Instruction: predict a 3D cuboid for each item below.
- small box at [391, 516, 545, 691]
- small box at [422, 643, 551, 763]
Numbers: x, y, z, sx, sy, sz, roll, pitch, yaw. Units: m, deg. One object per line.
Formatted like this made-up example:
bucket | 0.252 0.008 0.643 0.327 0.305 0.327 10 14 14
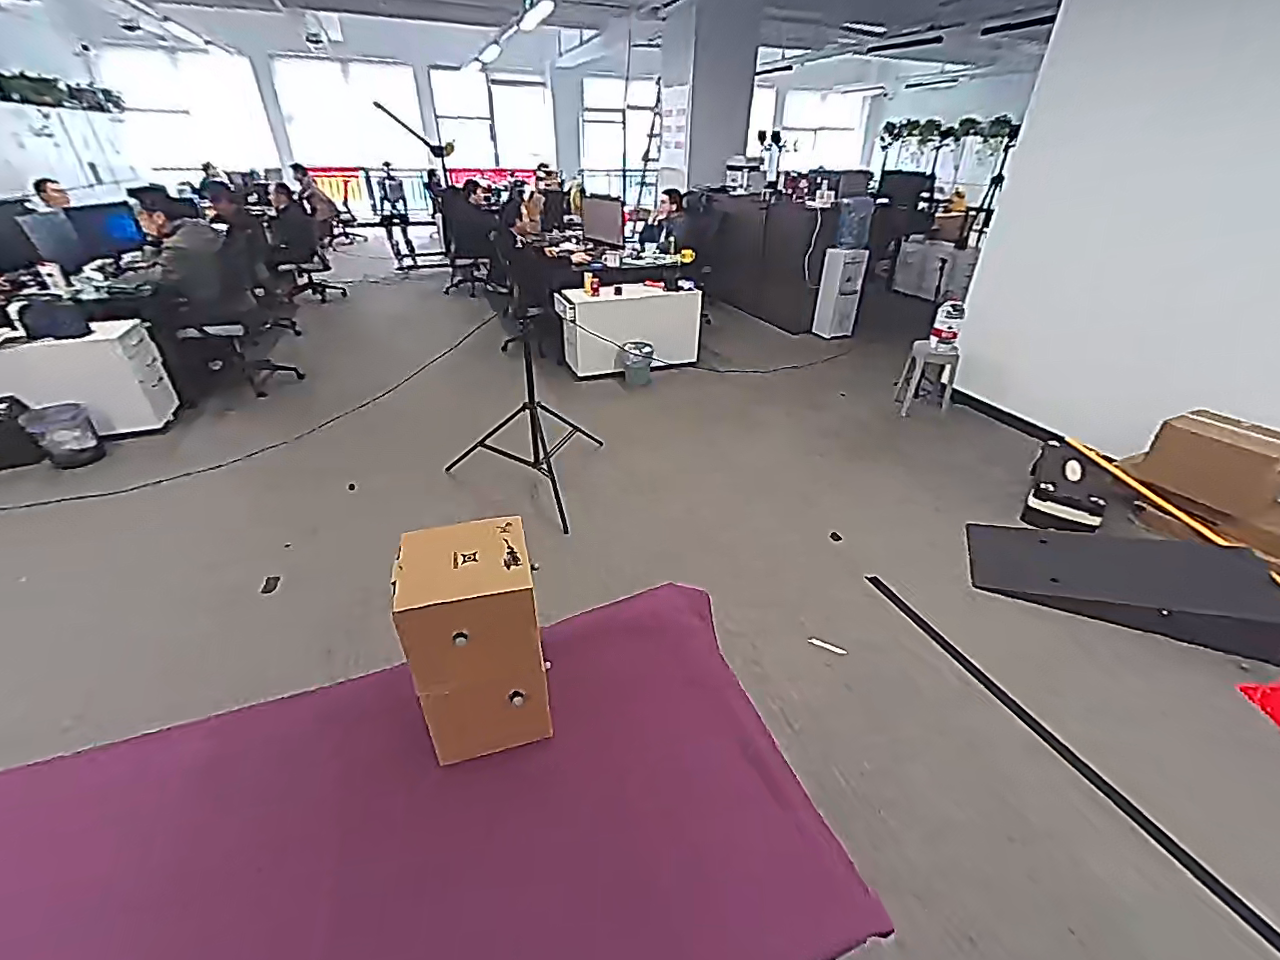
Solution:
small box | -0.242 0.178 0.786 0.179 0.176 0.168 -9 34 -14
small box | -0.243 0.317 0.873 0.179 0.176 0.168 -9 34 -15
